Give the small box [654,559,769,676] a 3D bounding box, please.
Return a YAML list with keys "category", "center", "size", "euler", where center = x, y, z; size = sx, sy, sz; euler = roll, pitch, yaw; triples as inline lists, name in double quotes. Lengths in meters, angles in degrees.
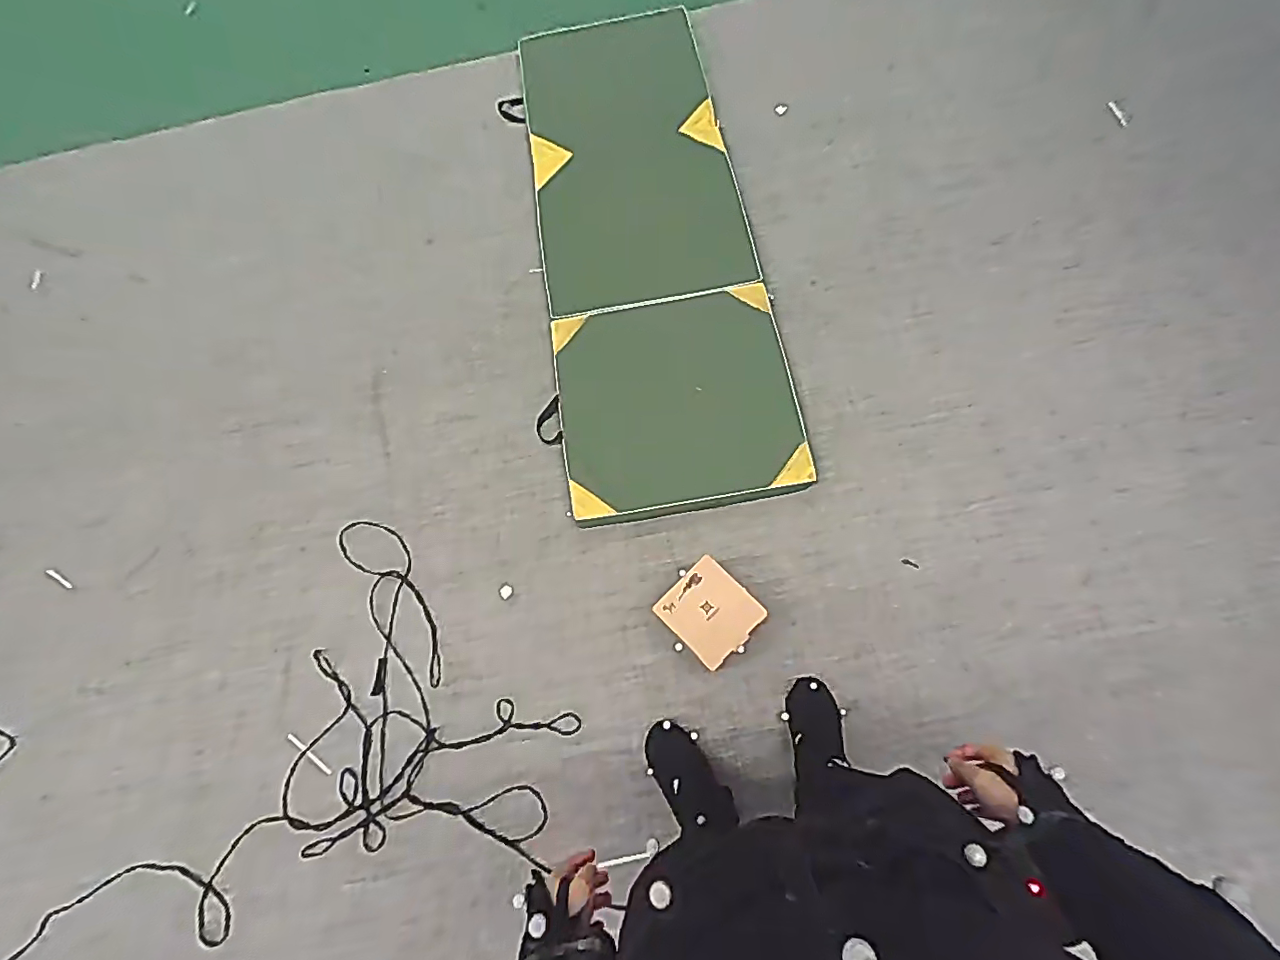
- category: "small box"
  center: [0.151, 0.299, 1.171]
  size: [0.168, 0.176, 0.179]
  euler: [-43, 72, -11]
